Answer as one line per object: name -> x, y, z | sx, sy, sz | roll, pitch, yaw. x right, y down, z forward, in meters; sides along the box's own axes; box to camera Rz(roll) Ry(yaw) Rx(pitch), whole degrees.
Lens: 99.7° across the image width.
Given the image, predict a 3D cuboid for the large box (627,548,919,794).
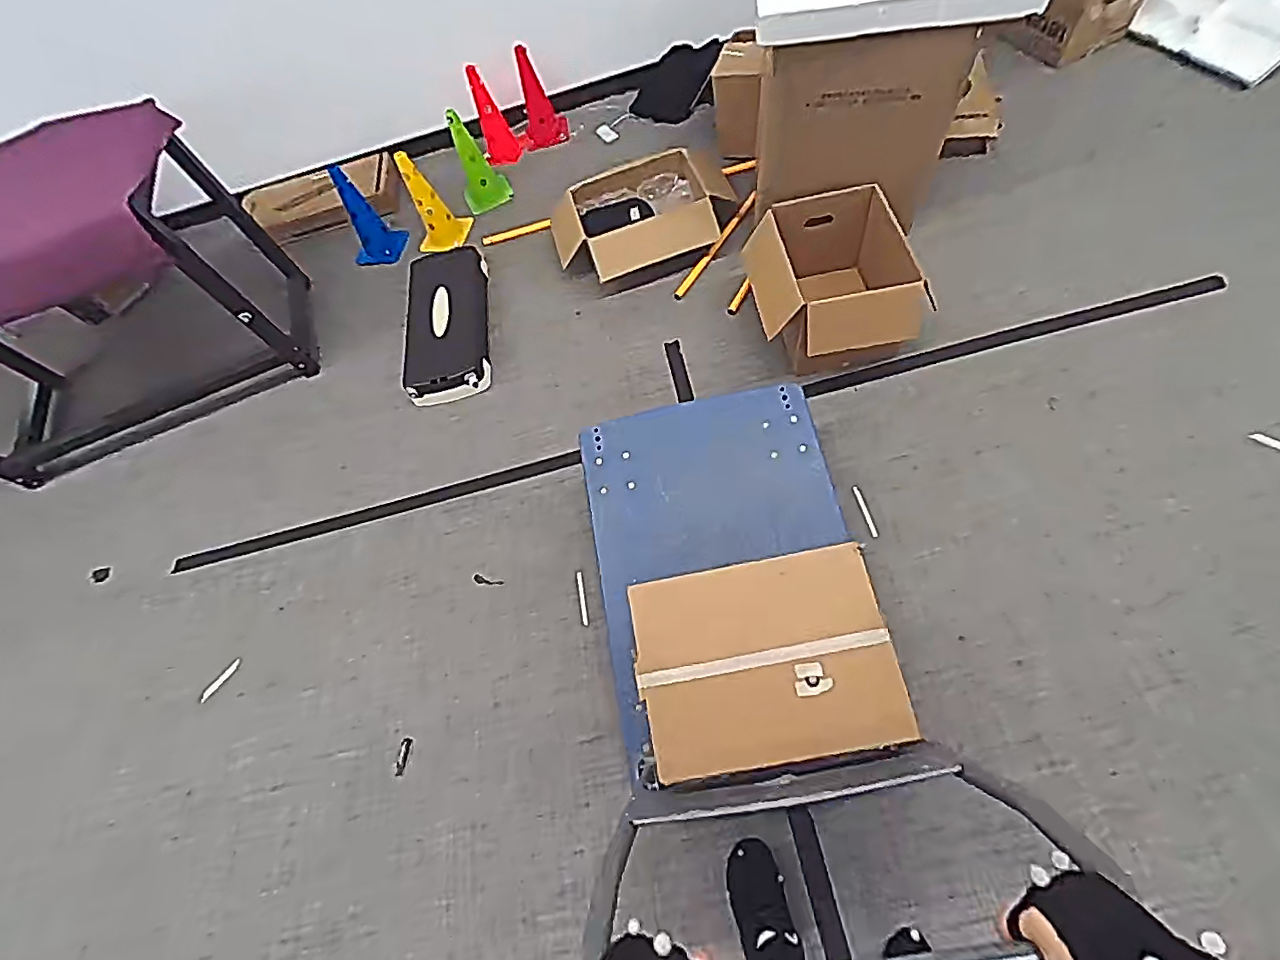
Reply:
large box -> 0.215, 0.345, 1.006 | 0.408, 0.320, 0.320 | -12, 71, 3
